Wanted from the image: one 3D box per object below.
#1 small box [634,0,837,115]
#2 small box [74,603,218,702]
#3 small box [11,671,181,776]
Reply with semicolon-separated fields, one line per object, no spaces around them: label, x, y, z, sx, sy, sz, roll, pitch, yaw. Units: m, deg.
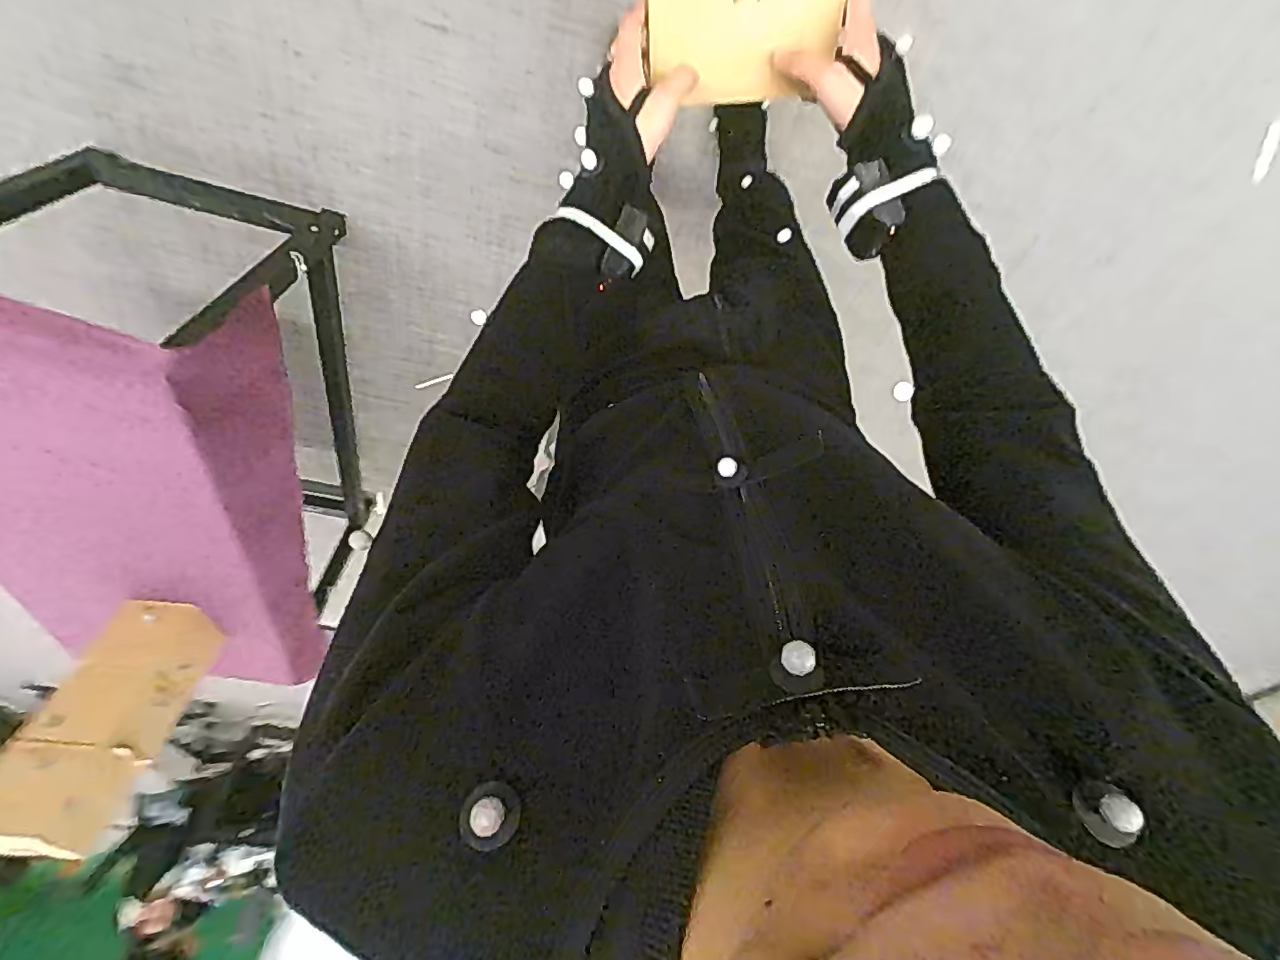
small box;0.078;-0.459;0.482;0.168;0.176;0.179;-4;141;1
small box;-1.198;0.426;1.332;0.168;0.176;0.179;5;134;-4
small box;-1.209;0.547;1.221;0.179;0.176;0.168;4;135;-2
